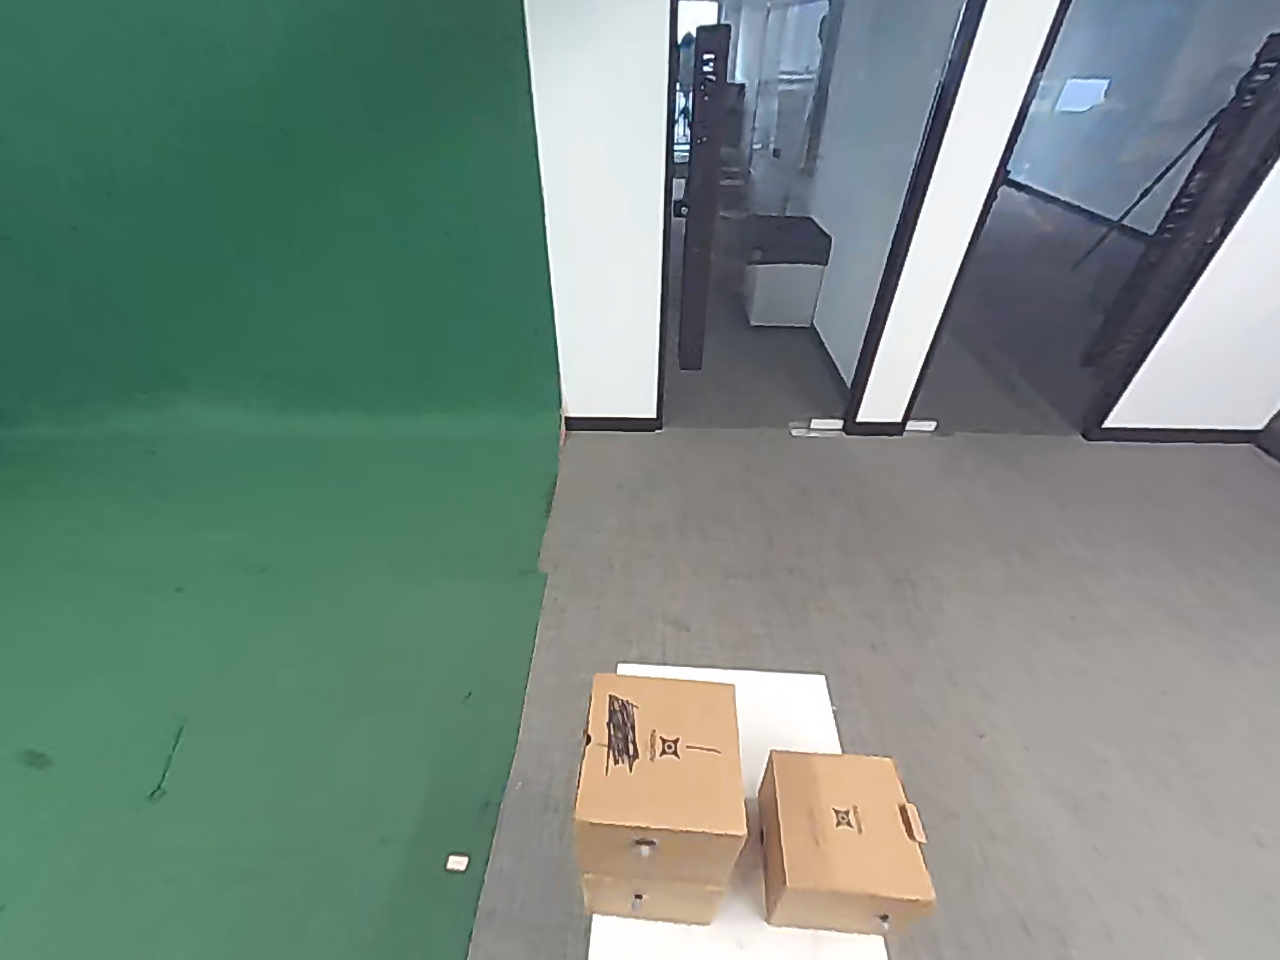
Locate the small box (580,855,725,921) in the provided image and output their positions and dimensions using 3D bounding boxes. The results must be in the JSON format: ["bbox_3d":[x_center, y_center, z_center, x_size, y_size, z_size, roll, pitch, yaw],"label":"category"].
[{"bbox_3d":[0.019,0.484,0.749,0.179,0.176,0.168,4,40,2],"label":"small box"}]

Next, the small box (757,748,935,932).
[{"bbox_3d":[0.266,0.495,0.744,0.179,0.176,0.168,2,39,4],"label":"small box"}]

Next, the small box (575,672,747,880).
[{"bbox_3d":[0.023,0.354,0.648,0.179,0.176,0.168,5,40,1],"label":"small box"}]
